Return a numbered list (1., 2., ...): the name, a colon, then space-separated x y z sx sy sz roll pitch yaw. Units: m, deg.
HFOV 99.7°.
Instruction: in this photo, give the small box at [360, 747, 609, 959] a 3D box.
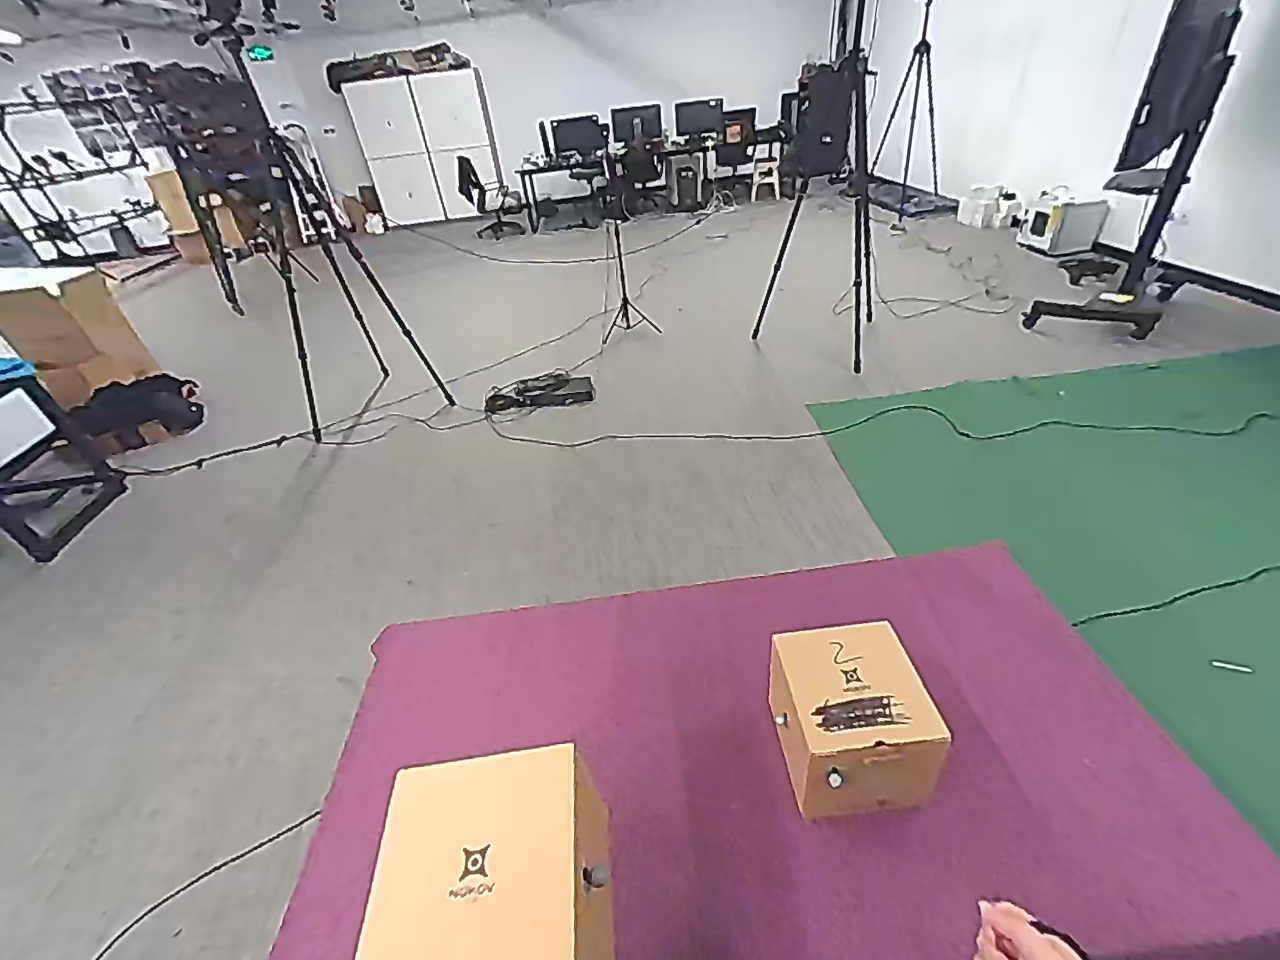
1. small box: -0.124 0.377 0.494 0.168 0.176 0.179 -10 42 1
